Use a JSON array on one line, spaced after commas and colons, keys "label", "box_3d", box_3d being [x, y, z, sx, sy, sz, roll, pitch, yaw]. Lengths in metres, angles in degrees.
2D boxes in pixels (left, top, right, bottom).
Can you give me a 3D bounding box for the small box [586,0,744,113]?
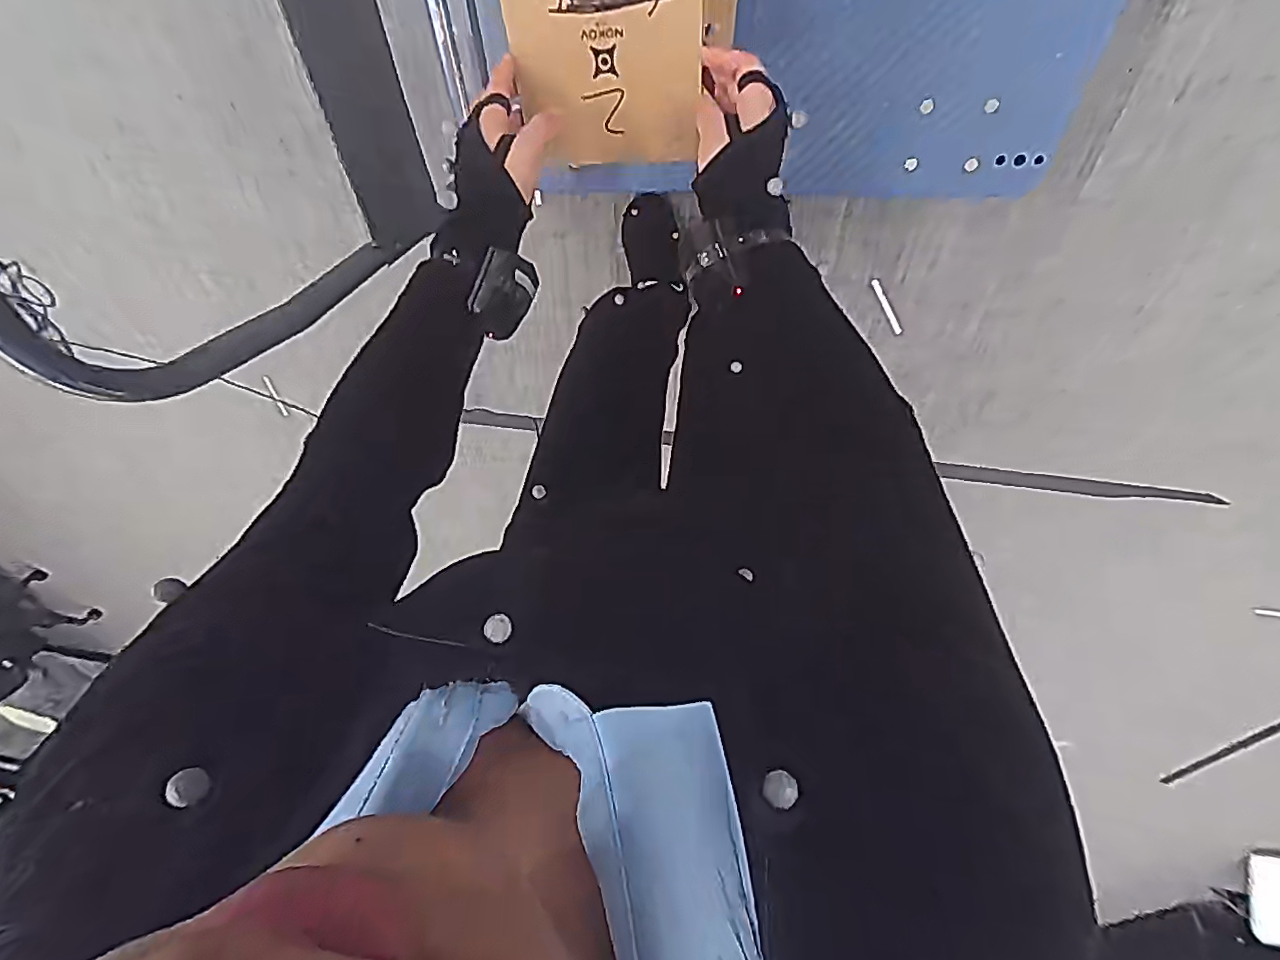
[{"label": "small box", "box_3d": [0.035, -0.556, 0.633, 0.168, 0.176, 0.179, 9, 135, 6]}]
